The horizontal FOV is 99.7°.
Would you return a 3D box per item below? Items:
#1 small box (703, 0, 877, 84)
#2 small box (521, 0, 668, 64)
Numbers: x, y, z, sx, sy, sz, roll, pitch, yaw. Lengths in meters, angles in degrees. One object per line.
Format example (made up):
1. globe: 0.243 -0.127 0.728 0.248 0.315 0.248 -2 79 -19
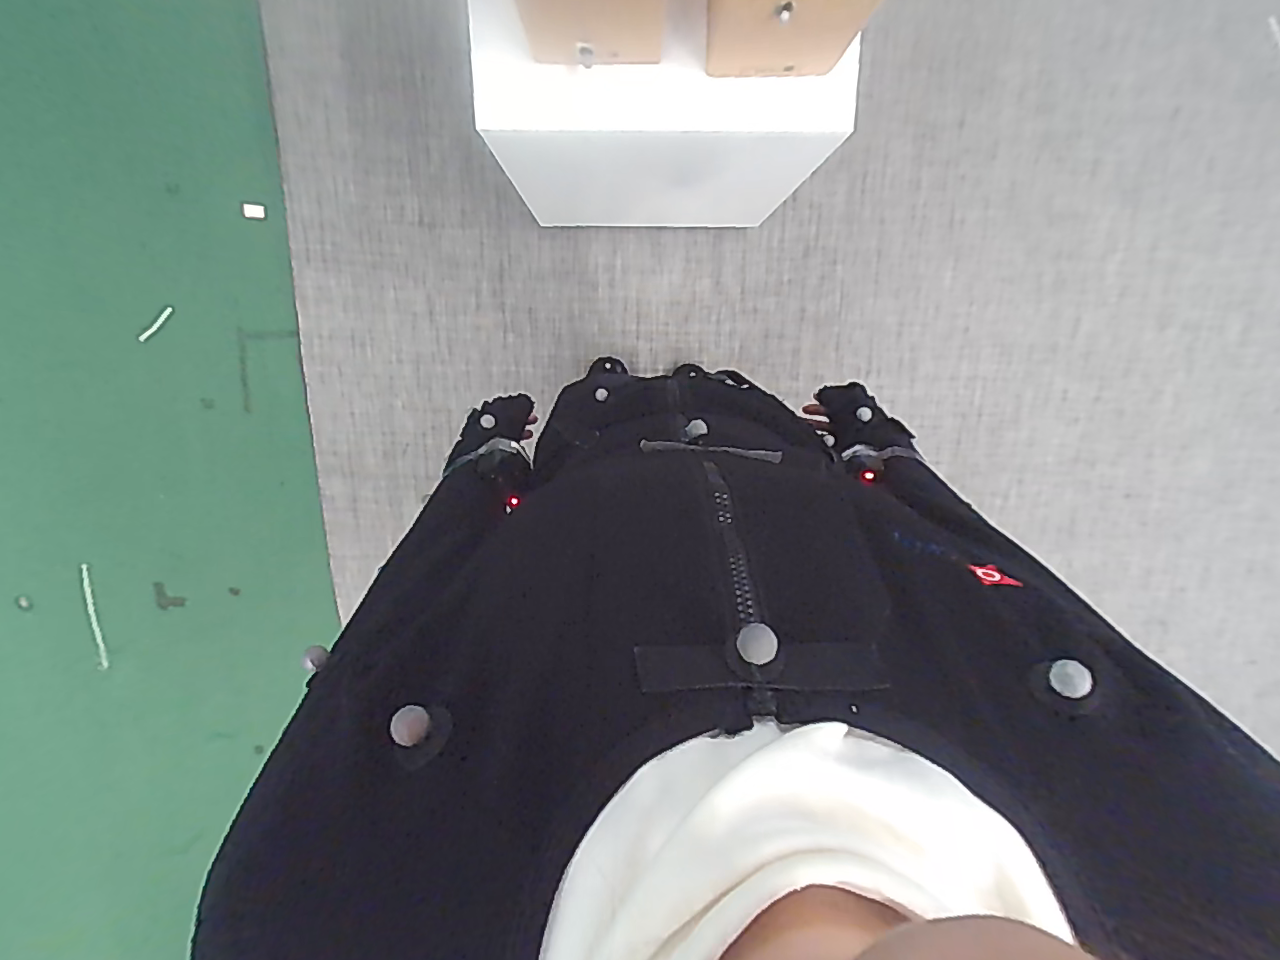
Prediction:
1. small box: 0.165 -0.598 0.619 0.168 0.176 0.179 -1 101 -1
2. small box: -0.054 -0.605 0.600 0.168 0.176 0.179 -2 103 0
